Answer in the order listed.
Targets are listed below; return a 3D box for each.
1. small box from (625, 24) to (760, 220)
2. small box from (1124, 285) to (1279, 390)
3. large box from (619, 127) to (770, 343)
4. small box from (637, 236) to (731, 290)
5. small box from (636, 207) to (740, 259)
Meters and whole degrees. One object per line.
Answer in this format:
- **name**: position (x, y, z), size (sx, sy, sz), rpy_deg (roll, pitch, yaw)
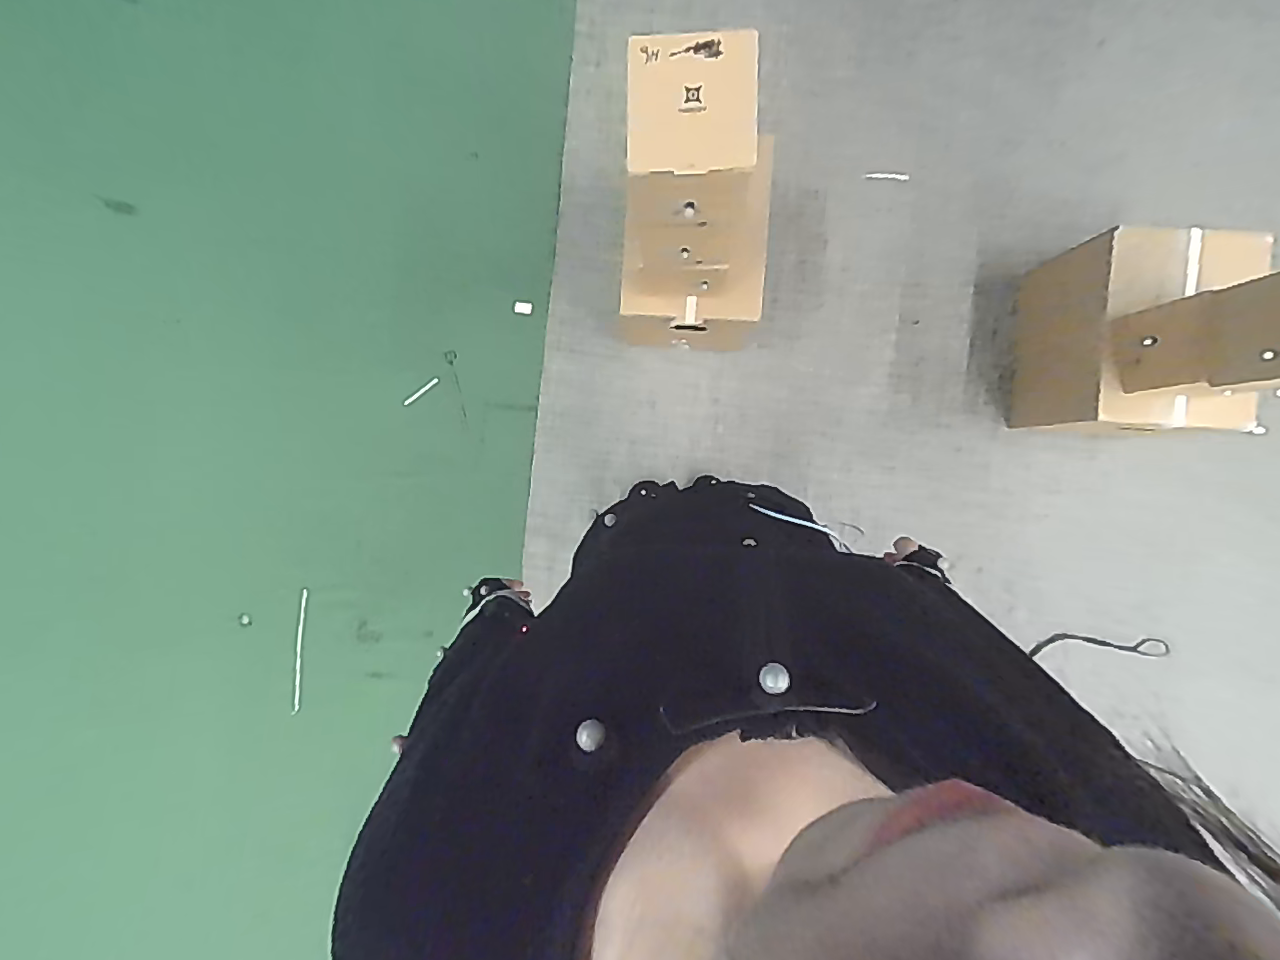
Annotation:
- **small box**: position (0.071, -0.482, 0.756), size (0.168, 0.176, 0.179), rpy_deg (1, 93, 4)
- **small box**: position (1.089, -0.264, 1.032), size (0.179, 0.176, 0.168), rpy_deg (3, 93, 5)
- **large box**: position (0.129, -0.569, 1.323), size (0.320, 0.320, 0.408), rpy_deg (4, 92, 3)
- **small box**: position (0.091, -0.490, 1.084), size (0.179, 0.176, 0.168), rpy_deg (3, 92, 5)
- **small box**: position (0.081, -0.490, 0.921), size (0.168, 0.176, 0.179), rpy_deg (-1, 91, 3)
